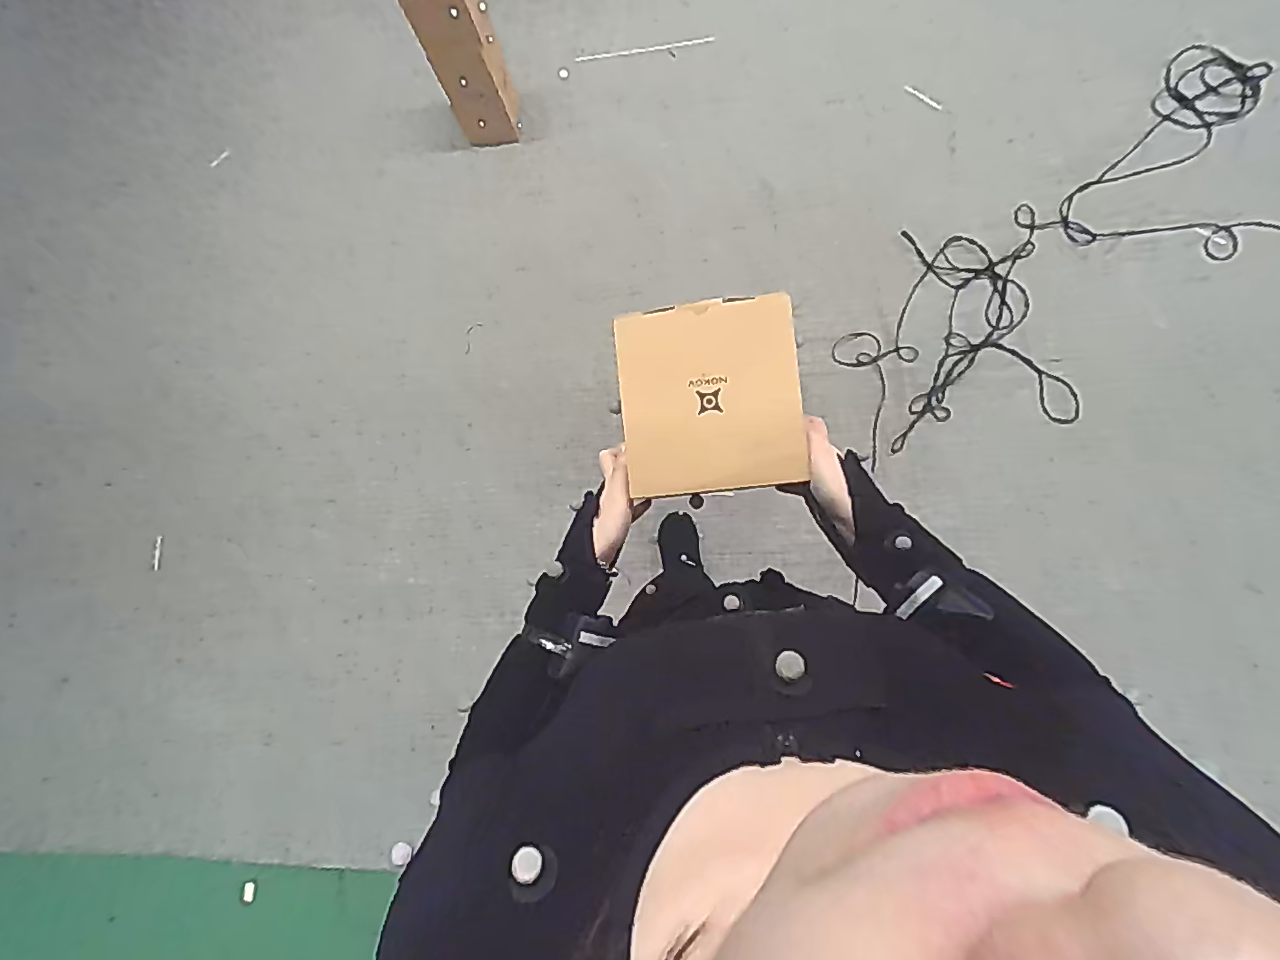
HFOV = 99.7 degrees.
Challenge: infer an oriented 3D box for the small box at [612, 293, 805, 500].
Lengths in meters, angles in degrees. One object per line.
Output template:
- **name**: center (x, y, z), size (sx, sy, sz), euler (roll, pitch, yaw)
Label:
- **small box**: center (0.071, -0.073, 0.572), size (0.168, 0.176, 0.179), euler (-6, 86, 6)

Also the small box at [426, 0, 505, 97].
- **small box**: center (-0.504, -1.261, 1.585), size (0.168, 0.176, 0.179), euler (-1, 80, 6)

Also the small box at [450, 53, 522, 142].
- **small box**: center (-0.491, -1.231, 1.746), size (0.179, 0.176, 0.168), euler (-1, 80, 7)
